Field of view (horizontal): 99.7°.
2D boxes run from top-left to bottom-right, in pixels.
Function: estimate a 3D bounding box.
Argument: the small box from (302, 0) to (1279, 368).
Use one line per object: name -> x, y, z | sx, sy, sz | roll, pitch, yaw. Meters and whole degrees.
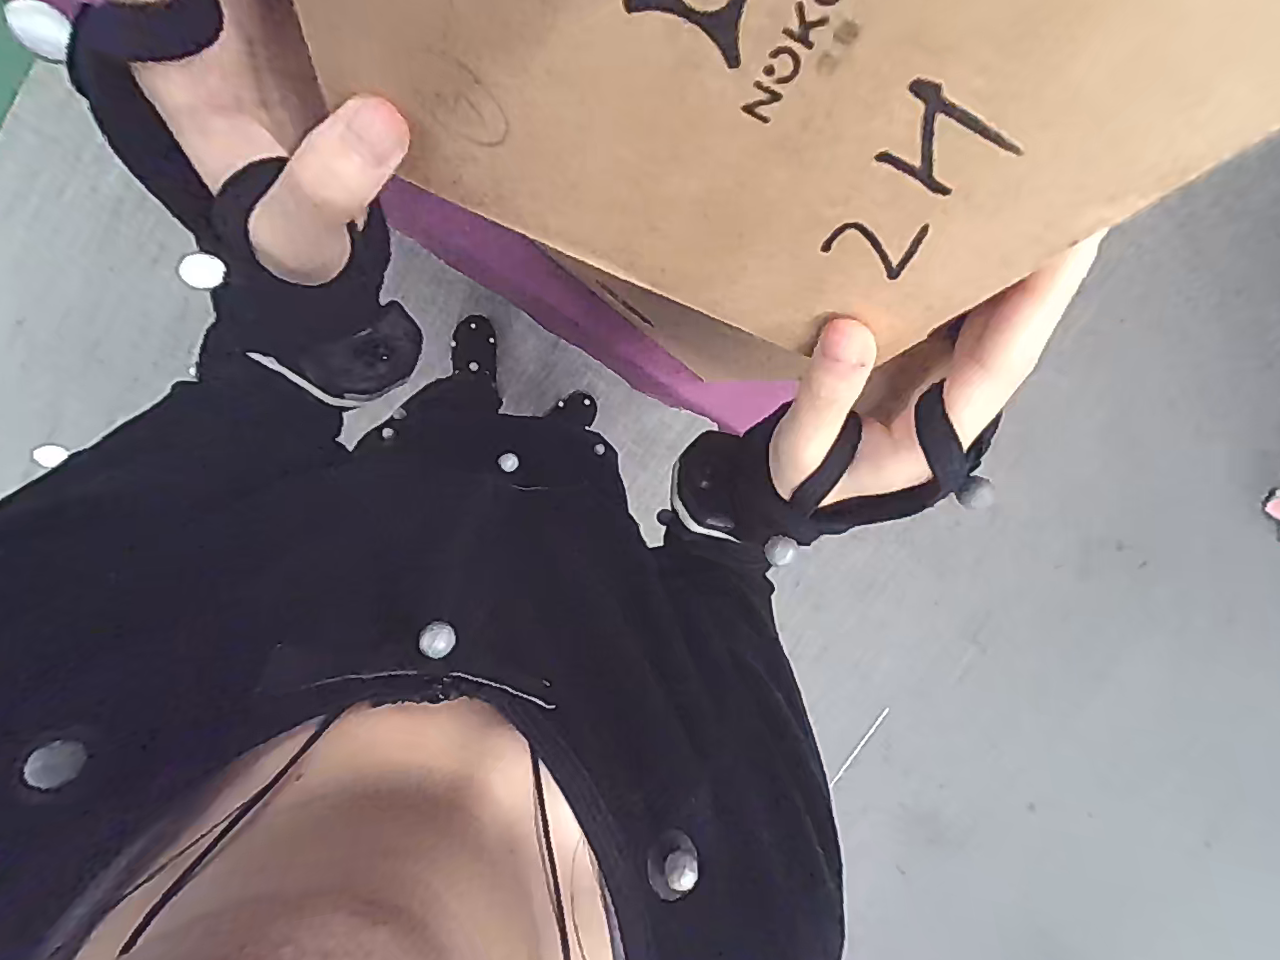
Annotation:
small box -> 0.039, -0.157, 0.117 | 0.179, 0.168, 0.176 | 20, 75, -12
